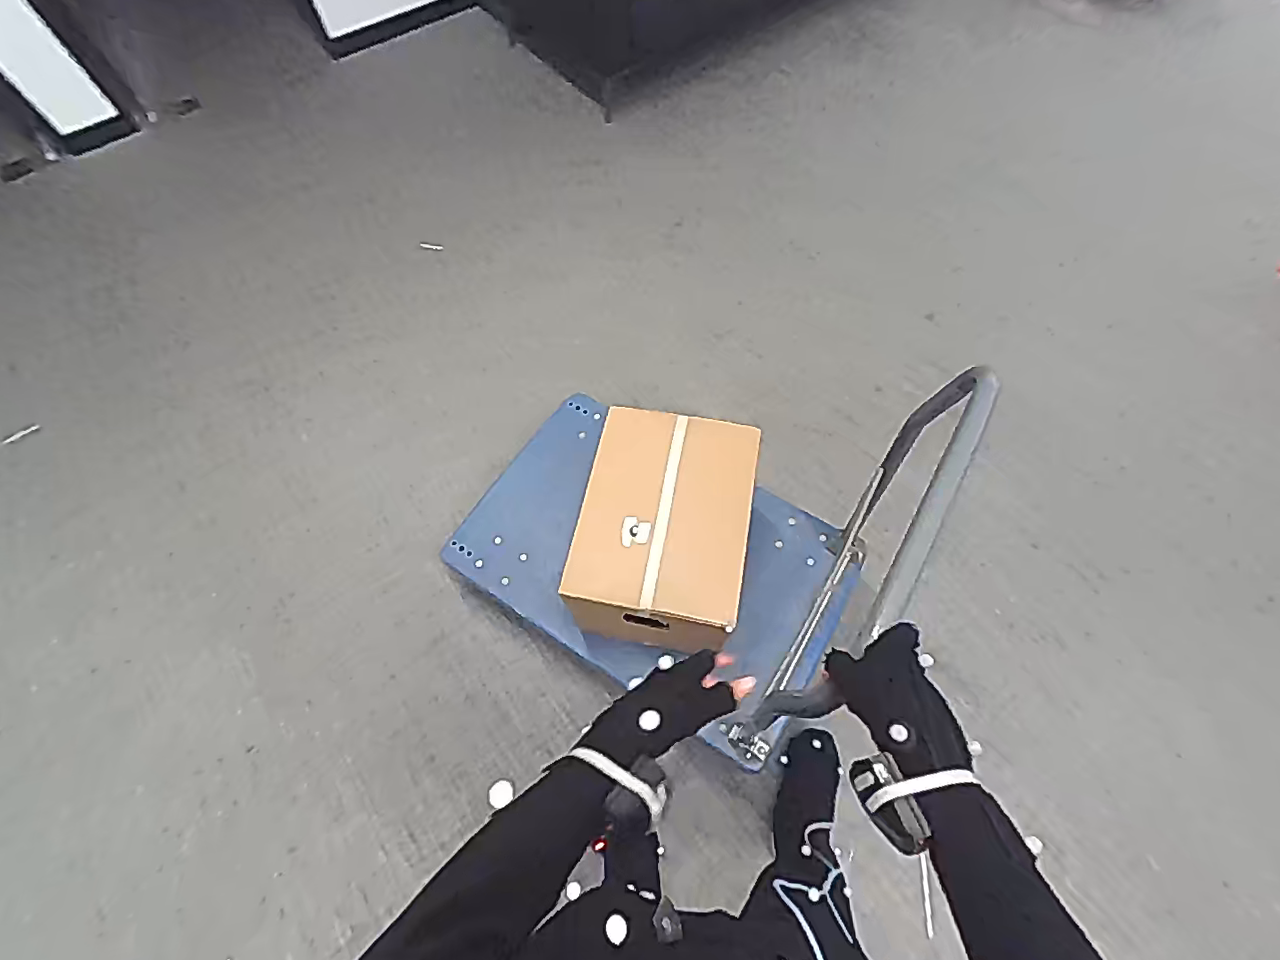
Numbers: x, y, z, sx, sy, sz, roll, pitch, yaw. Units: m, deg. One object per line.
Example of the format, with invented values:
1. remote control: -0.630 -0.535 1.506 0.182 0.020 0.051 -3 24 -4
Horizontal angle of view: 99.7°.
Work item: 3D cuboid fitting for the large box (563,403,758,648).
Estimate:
1. large box: 0.052 0.104 1.149 0.320 0.320 0.408 10 65 7
